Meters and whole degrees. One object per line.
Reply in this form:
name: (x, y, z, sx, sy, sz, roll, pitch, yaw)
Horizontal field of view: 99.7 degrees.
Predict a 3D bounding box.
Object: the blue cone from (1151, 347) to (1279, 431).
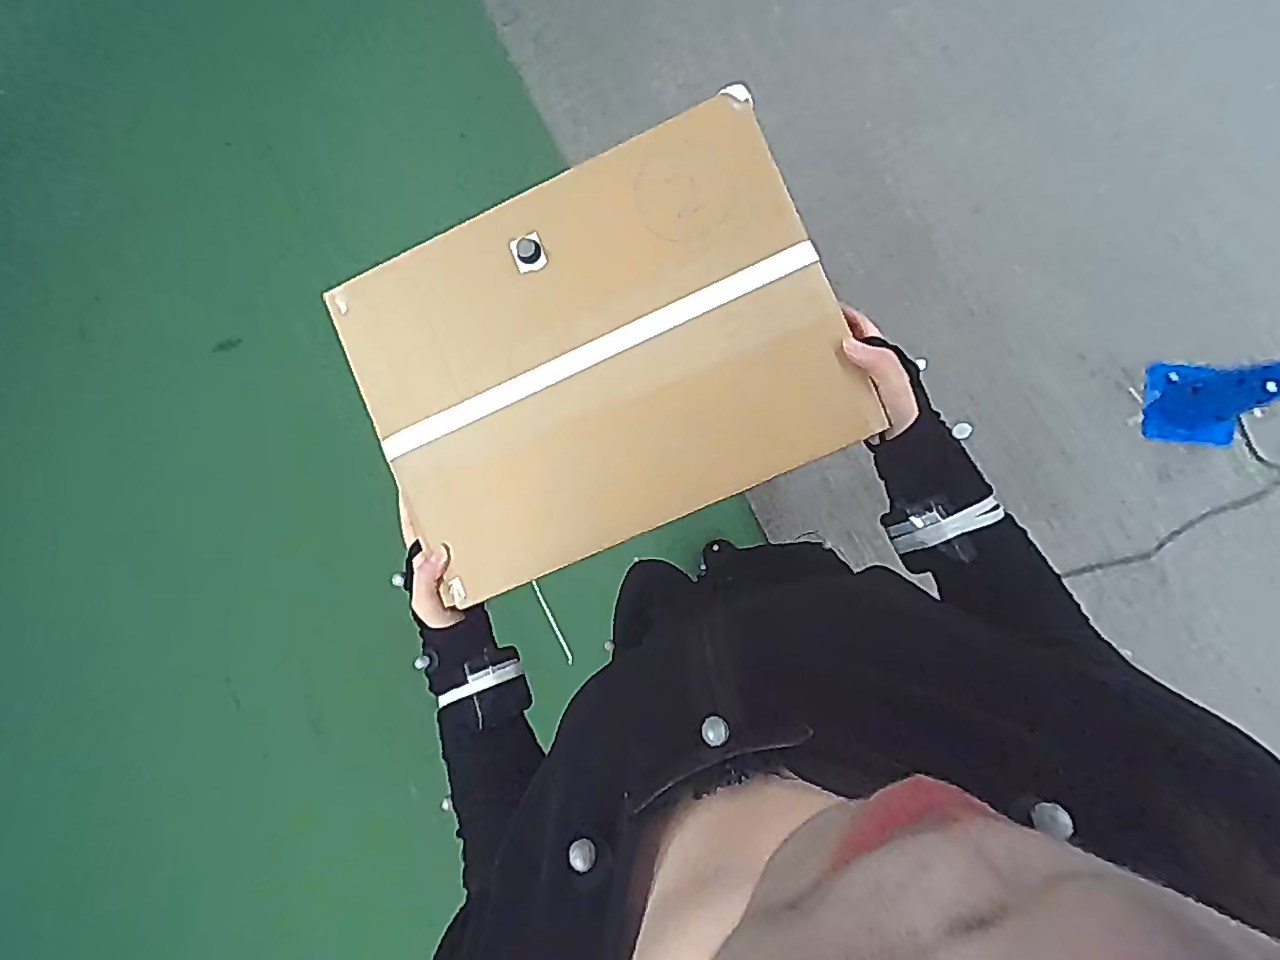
blue cone: (1.345, -0.232, 1.174, 0.193, 0.380, 0.192, 5, 85, 10)
